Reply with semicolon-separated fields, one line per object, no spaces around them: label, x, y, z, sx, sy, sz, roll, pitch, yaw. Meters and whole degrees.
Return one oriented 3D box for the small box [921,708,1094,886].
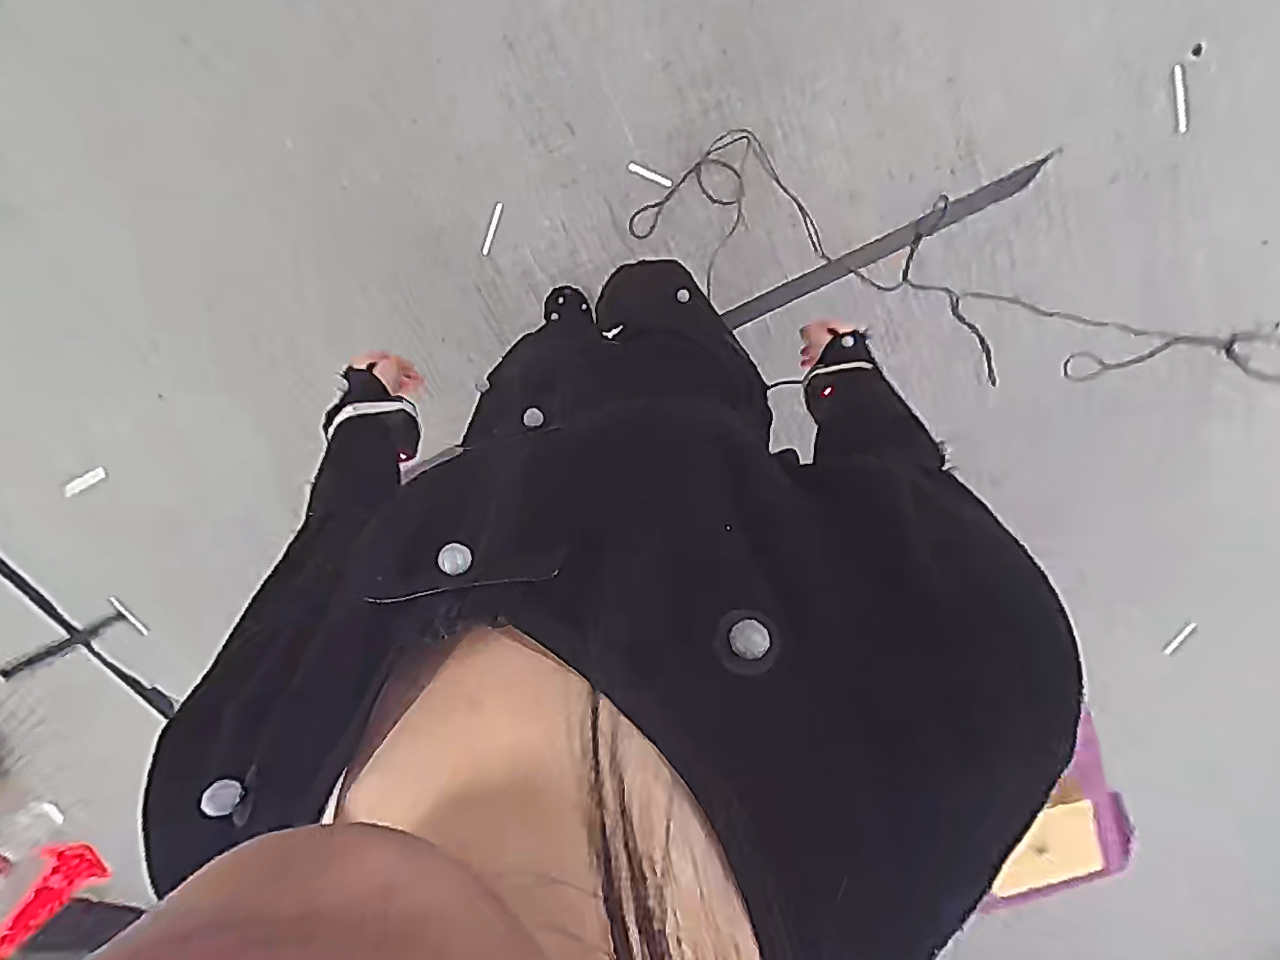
small box;0.604;0.522;0.904;0.168;0.176;0.179;-23;110;8
